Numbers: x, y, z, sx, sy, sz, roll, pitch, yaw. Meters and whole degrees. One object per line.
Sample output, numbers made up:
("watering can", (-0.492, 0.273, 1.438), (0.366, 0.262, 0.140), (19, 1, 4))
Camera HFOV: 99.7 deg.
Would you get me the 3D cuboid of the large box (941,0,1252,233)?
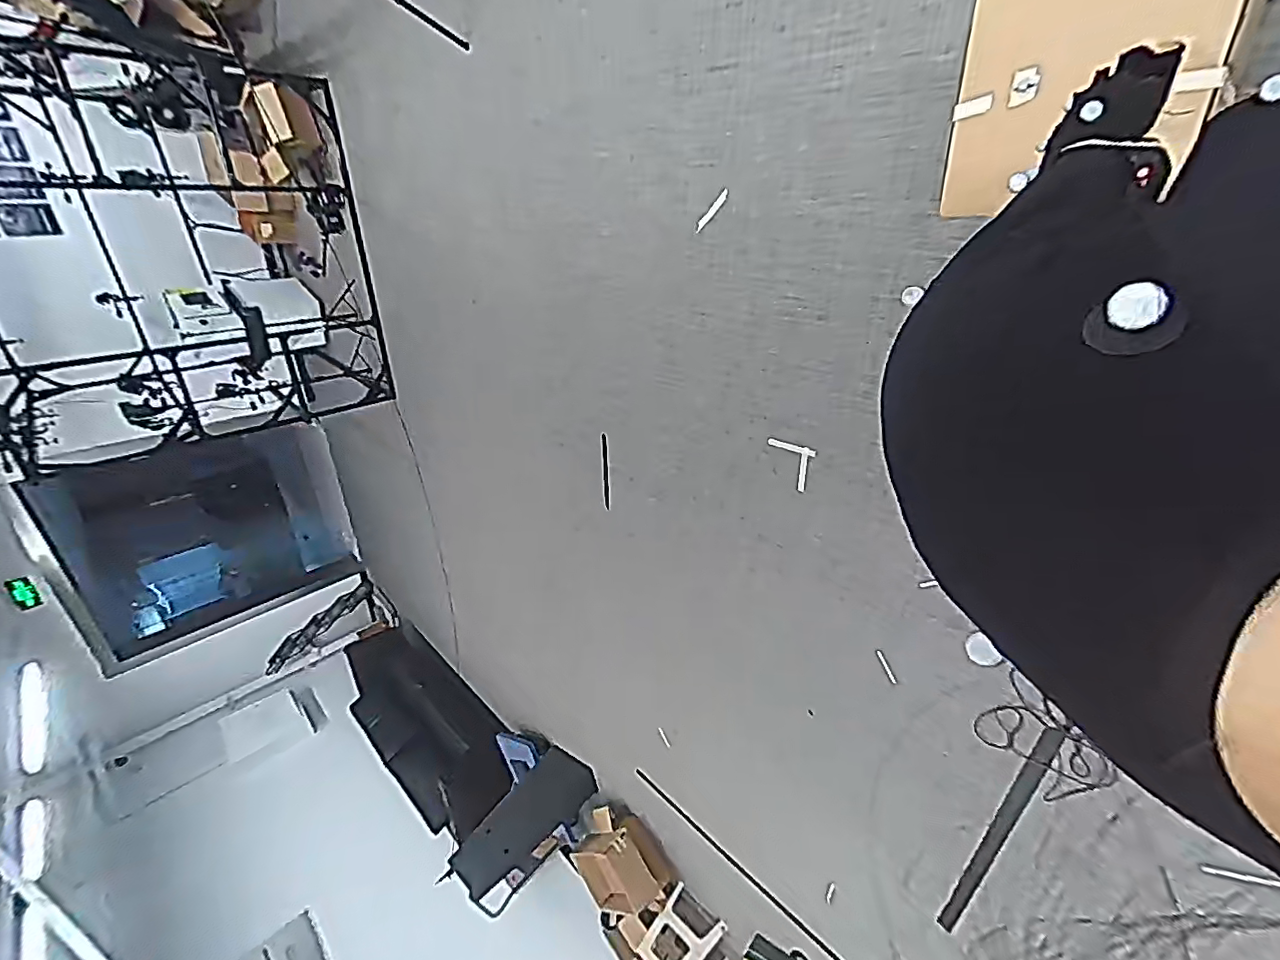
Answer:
("large box", (0.762, -0.608, 0.921), (0.320, 0.408, 0.320), (21, 126, 39))
